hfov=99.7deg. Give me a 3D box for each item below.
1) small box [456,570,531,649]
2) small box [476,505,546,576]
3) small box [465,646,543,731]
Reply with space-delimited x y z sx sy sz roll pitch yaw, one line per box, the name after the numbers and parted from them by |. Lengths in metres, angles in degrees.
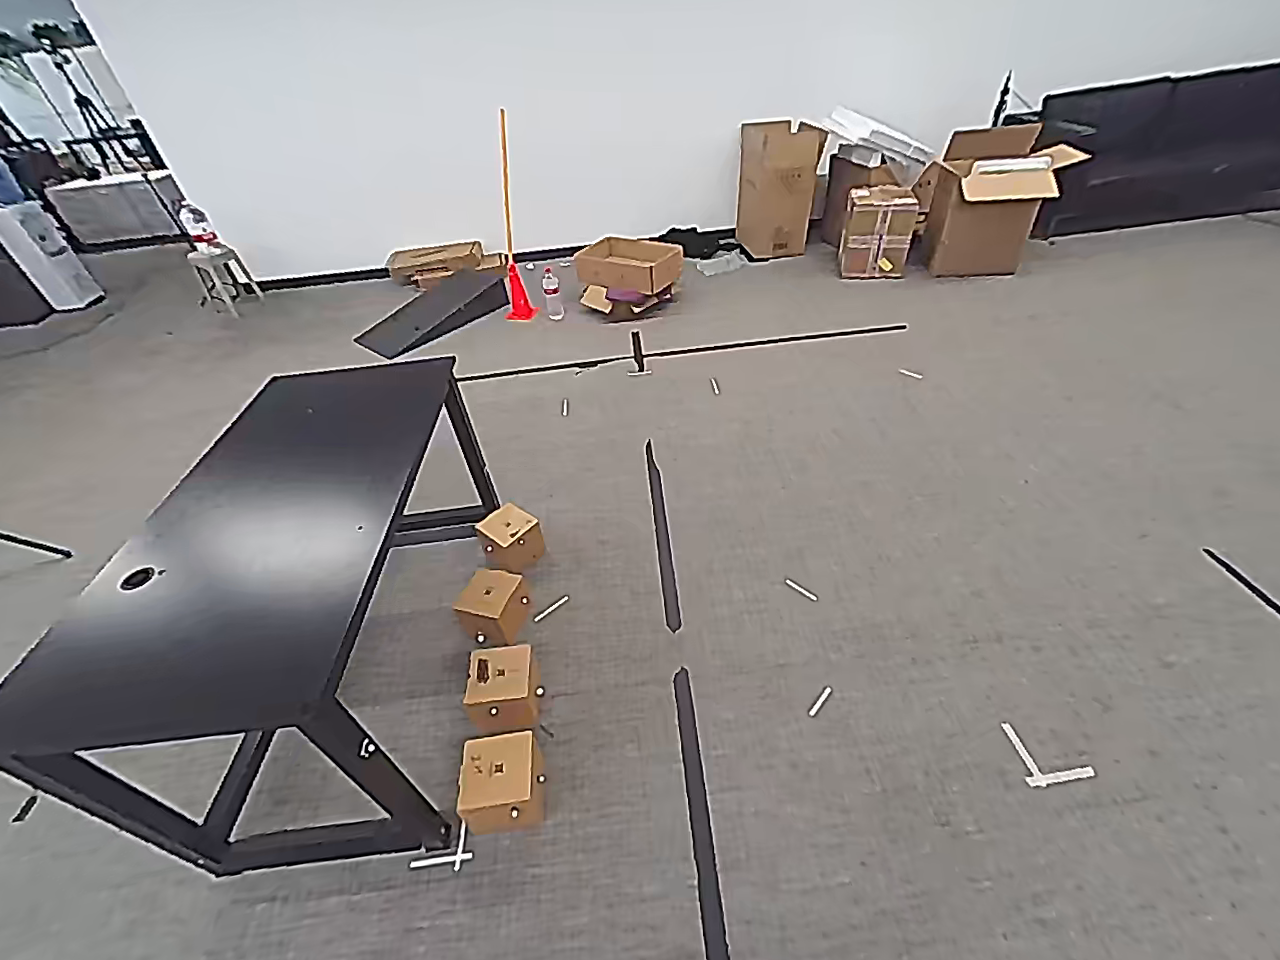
-0.478 0.429 1.799 0.168 0.176 0.179 7 43 16 | small box
-0.479 0.229 2.027 0.179 0.176 0.168 25 50 31 | small box
-0.390 0.610 1.575 0.179 0.176 0.168 -6 41 -2 | small box
